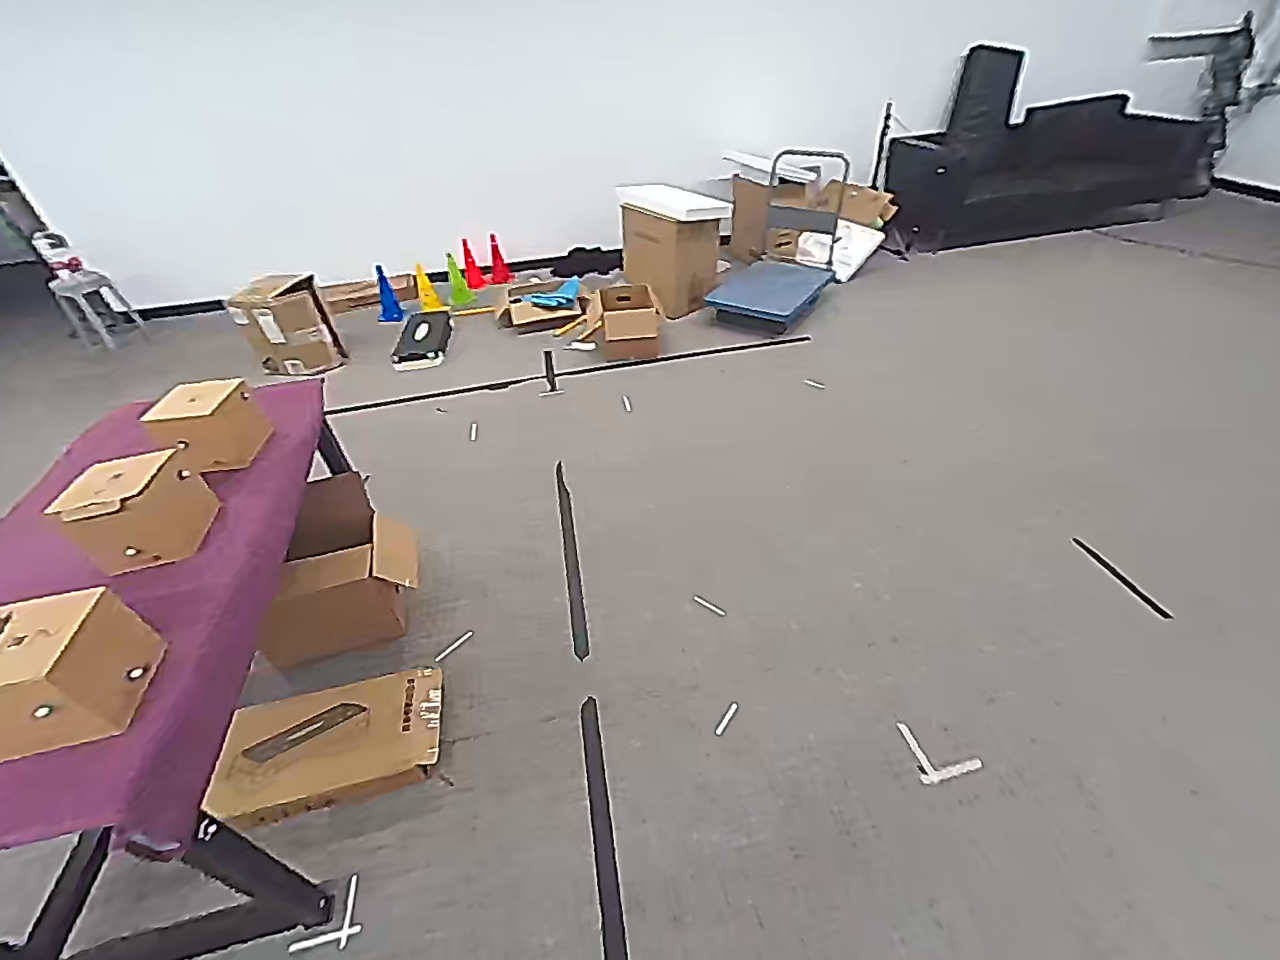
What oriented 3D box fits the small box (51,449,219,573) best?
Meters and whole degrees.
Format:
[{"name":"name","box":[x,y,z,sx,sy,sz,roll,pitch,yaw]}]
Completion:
[{"name":"small box","box":[-1.033,0.064,1.130,0.168,0.176,0.179,-13,40,-7]}]

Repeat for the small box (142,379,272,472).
[{"name":"small box","box":[-1.083,-0.133,1.375,0.168,0.176,0.179,-7,39,-3]}]
